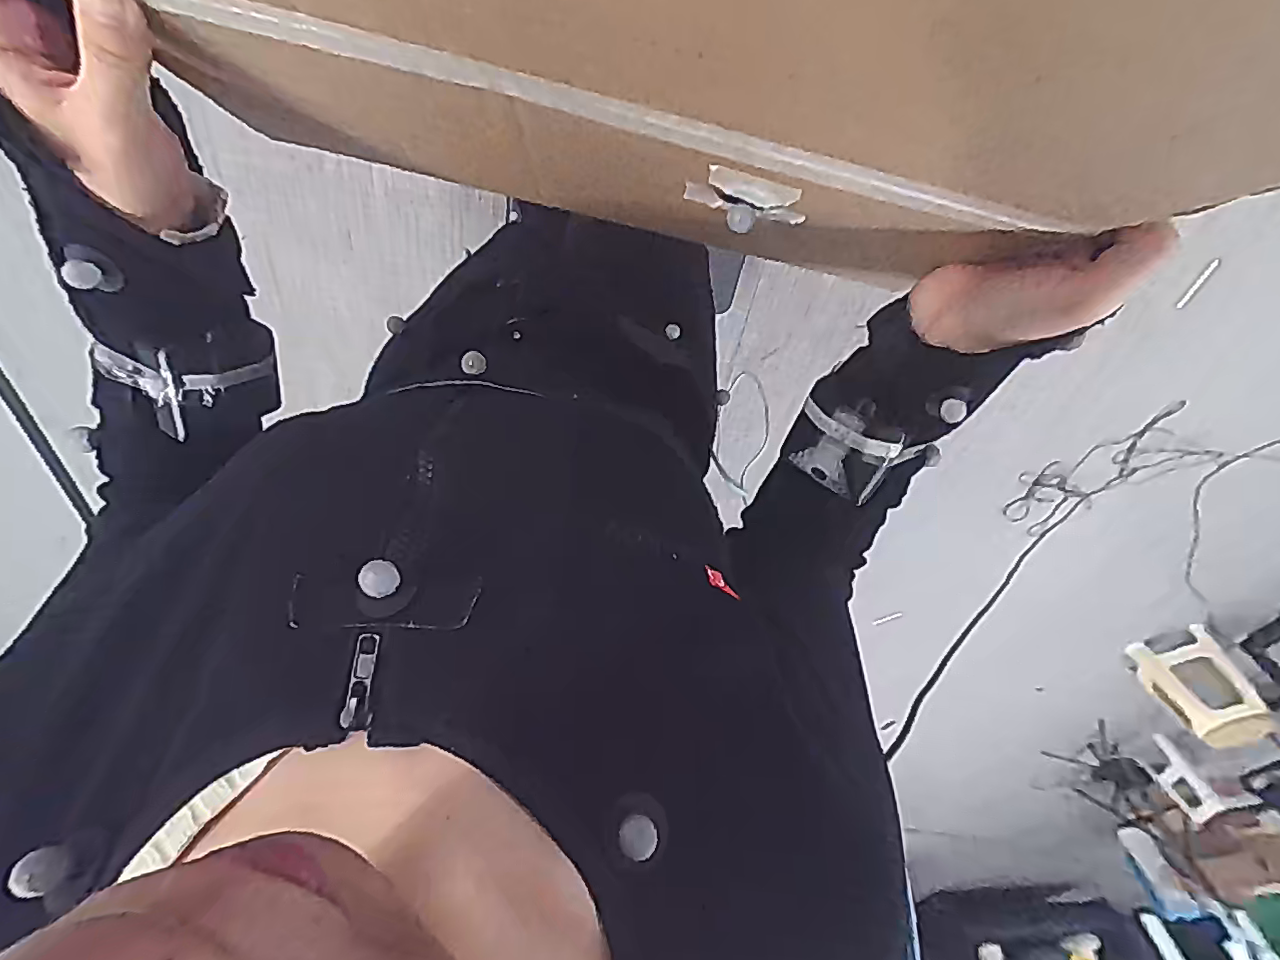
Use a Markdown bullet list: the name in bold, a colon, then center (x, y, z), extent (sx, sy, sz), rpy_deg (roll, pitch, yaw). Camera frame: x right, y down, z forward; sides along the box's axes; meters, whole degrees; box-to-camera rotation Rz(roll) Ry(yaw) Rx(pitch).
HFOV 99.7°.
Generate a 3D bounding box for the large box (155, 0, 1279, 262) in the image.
- **large box**: center (0.036, -0.292, 0.144), extent (0.408, 0.320, 0.320), rpy_deg (10, 100, -7)
